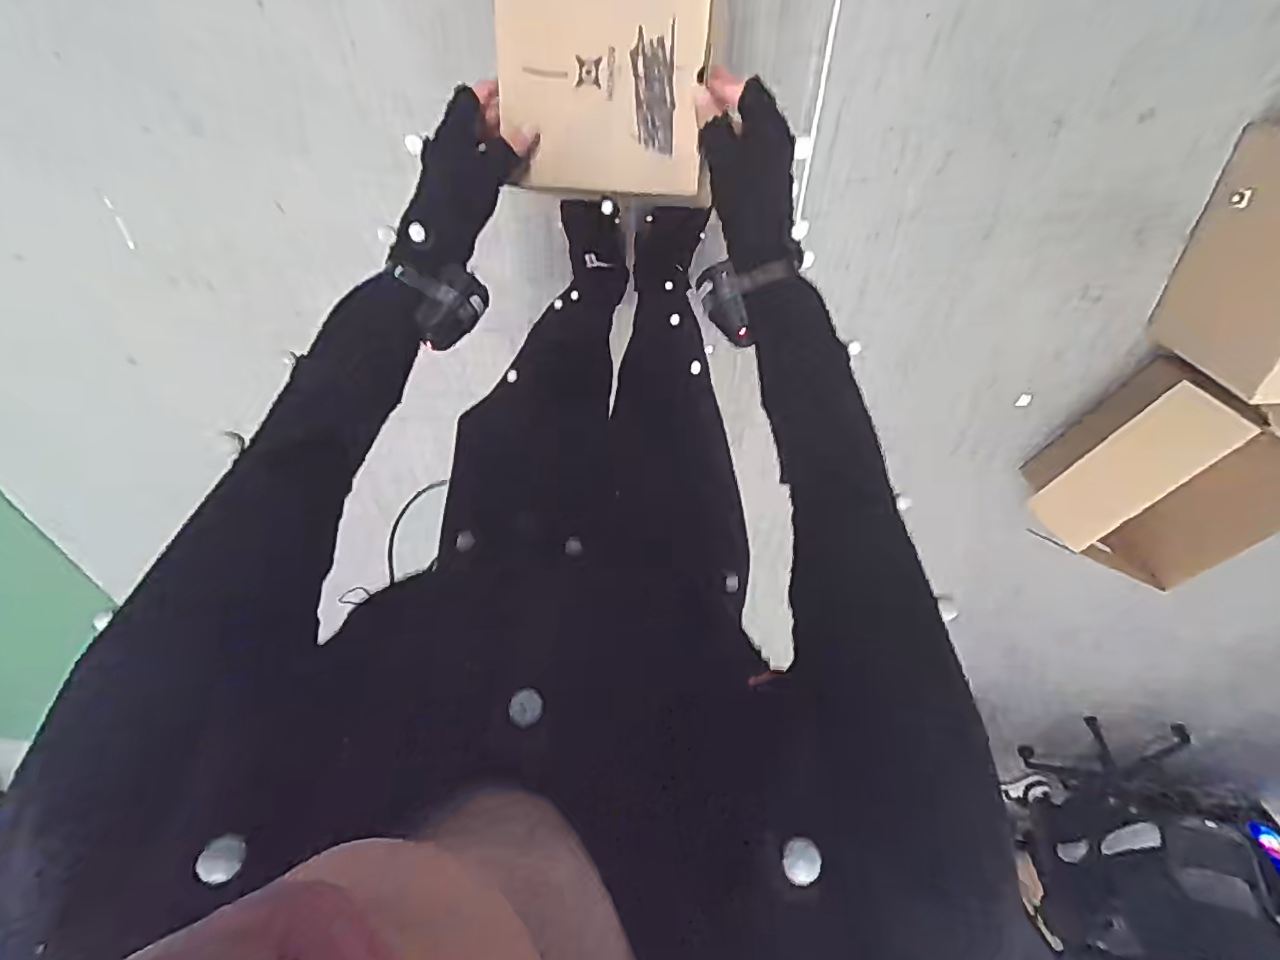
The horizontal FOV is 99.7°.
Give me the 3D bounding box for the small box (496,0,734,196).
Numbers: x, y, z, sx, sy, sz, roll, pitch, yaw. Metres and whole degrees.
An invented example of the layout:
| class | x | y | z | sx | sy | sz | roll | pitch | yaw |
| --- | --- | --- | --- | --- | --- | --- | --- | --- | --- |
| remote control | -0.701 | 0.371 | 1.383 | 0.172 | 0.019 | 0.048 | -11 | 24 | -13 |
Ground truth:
| class | x | y | z | sx | sy | sz | roll | pitch | yaw |
| --- | --- | --- | --- | --- | --- | --- | --- | --- | --- |
| small box | -0.013 | -0.357 | 0.488 | 0.179 | 0.176 | 0.168 | 8 | 115 | 9 |
